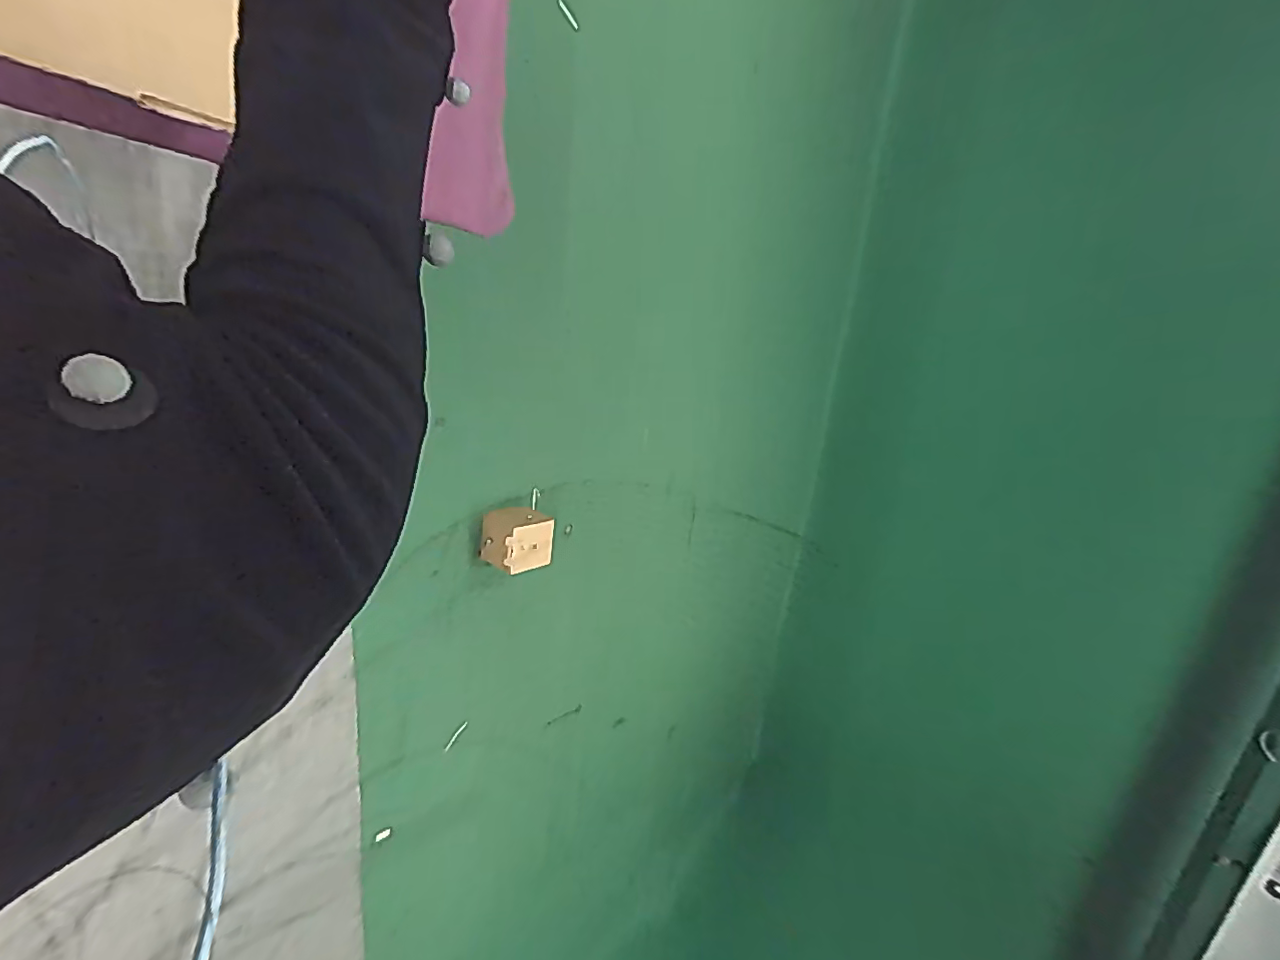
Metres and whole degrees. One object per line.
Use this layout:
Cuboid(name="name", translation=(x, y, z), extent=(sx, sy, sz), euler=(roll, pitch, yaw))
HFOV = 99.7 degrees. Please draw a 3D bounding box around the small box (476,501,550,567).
Cuboid(name="small box", translation=(-0.439, 0.179, 1.863), extent=(0.179, 0.176, 0.168), euler=(-8, 112, -48))
